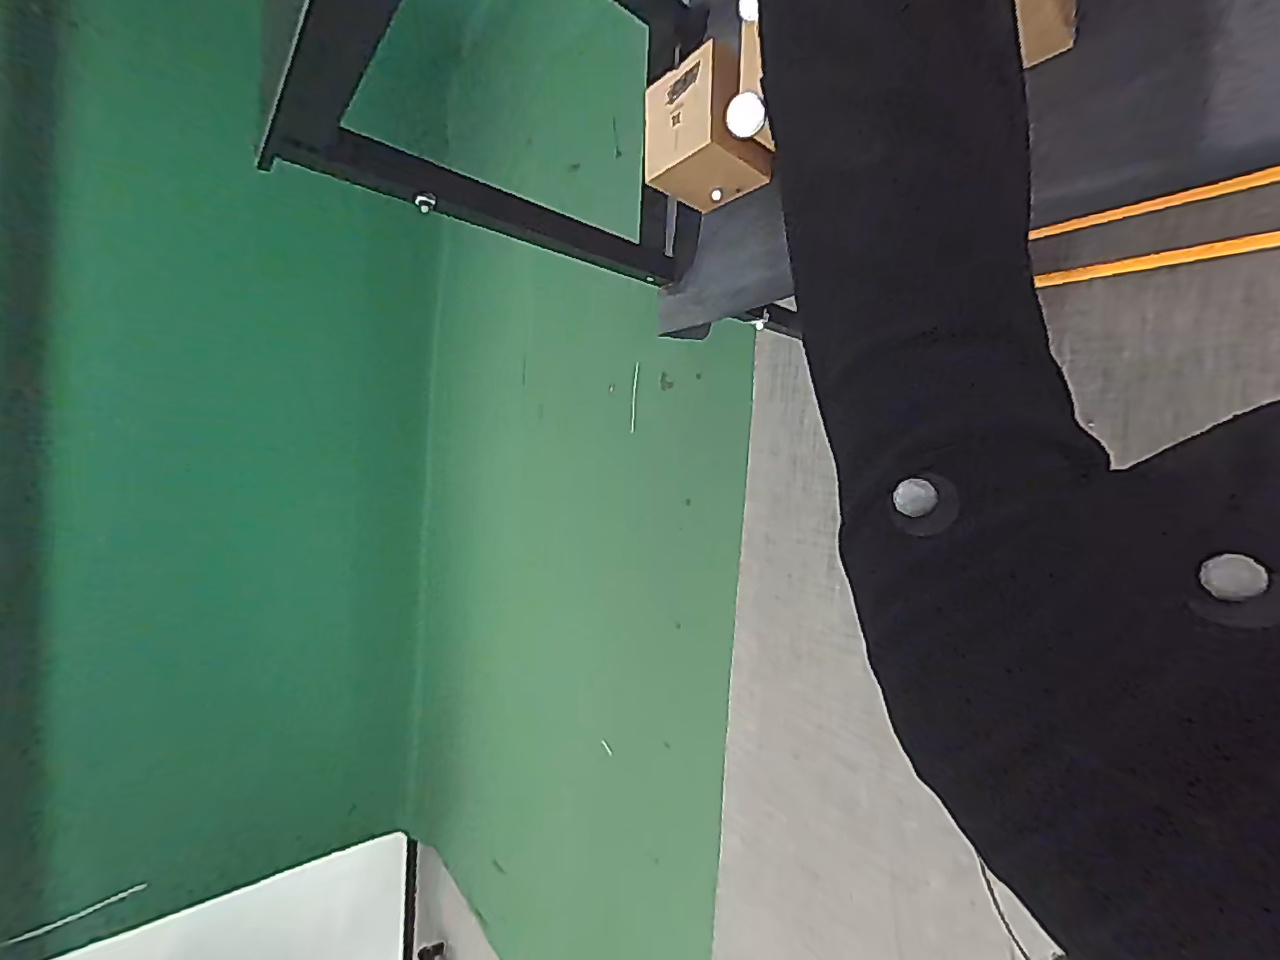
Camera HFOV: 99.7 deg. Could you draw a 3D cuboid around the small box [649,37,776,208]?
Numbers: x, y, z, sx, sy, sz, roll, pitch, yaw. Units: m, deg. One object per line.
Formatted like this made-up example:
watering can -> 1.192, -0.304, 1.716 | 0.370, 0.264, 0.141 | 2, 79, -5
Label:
small box -> 0.134, -0.636, 0.991 | 0.168, 0.176, 0.179 | 1, 90, 50
